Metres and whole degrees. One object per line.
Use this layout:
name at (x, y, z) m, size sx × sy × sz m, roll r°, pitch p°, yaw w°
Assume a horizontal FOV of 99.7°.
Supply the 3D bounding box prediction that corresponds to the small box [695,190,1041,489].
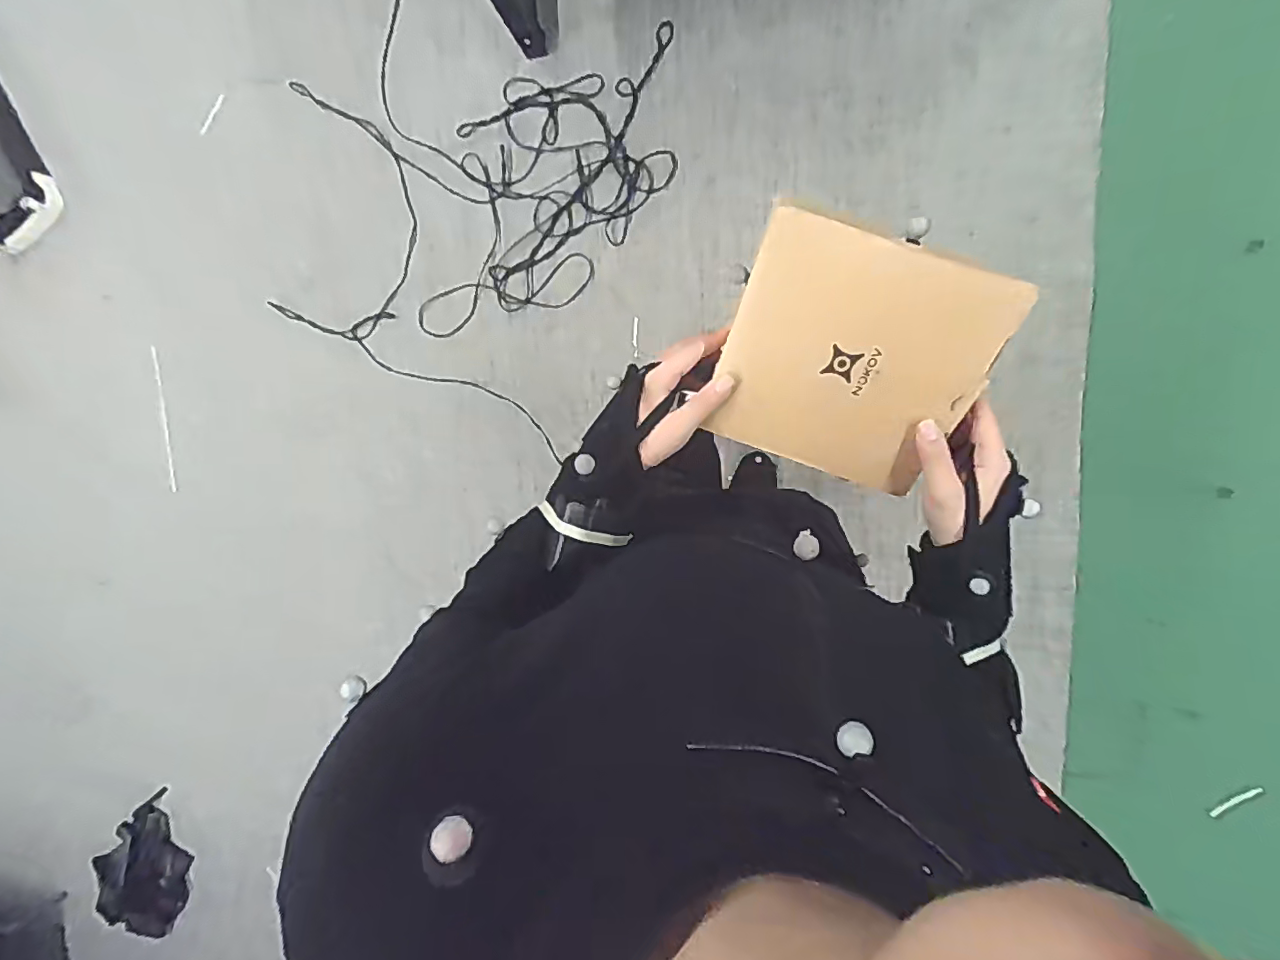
small box at (0.161, -0.124, 0.443) m, size 0.179 × 0.176 × 0.168 m, roll 19°, pitch 122°, yaw 3°
